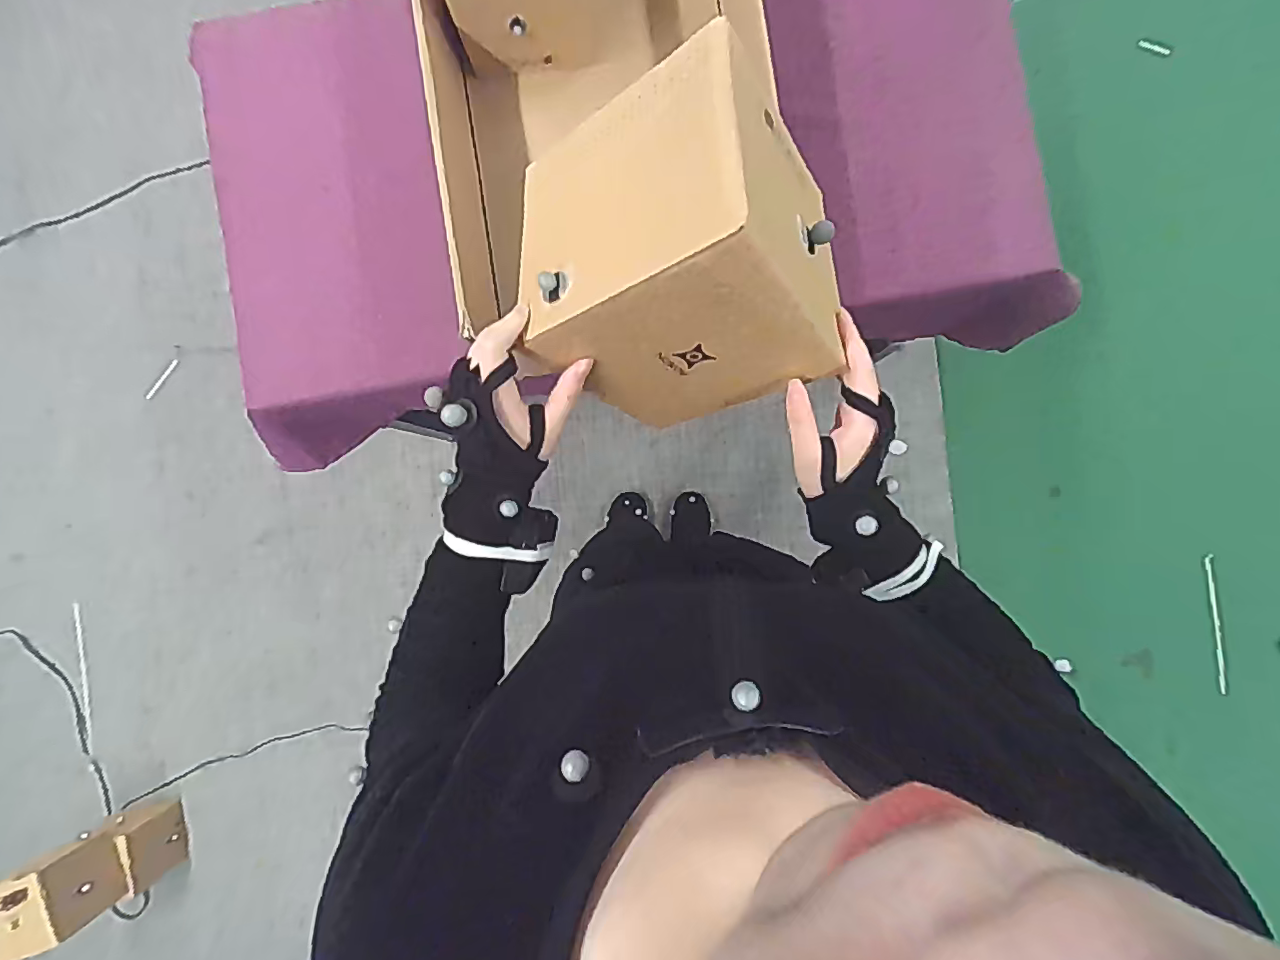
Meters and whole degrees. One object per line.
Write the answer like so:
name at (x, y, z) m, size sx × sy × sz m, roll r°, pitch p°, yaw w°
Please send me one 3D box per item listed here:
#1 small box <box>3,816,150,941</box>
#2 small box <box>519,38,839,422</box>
small box at (-1.395, 0.978, 1.350) m, size 0.168 × 0.176 × 0.179 m, roll -19°, pitch 89°, yaw 3°
small box at (0.030, -0.168, 0.412) m, size 0.179 × 0.168 × 0.176 m, roll -14°, pitch 65°, yaw 36°
